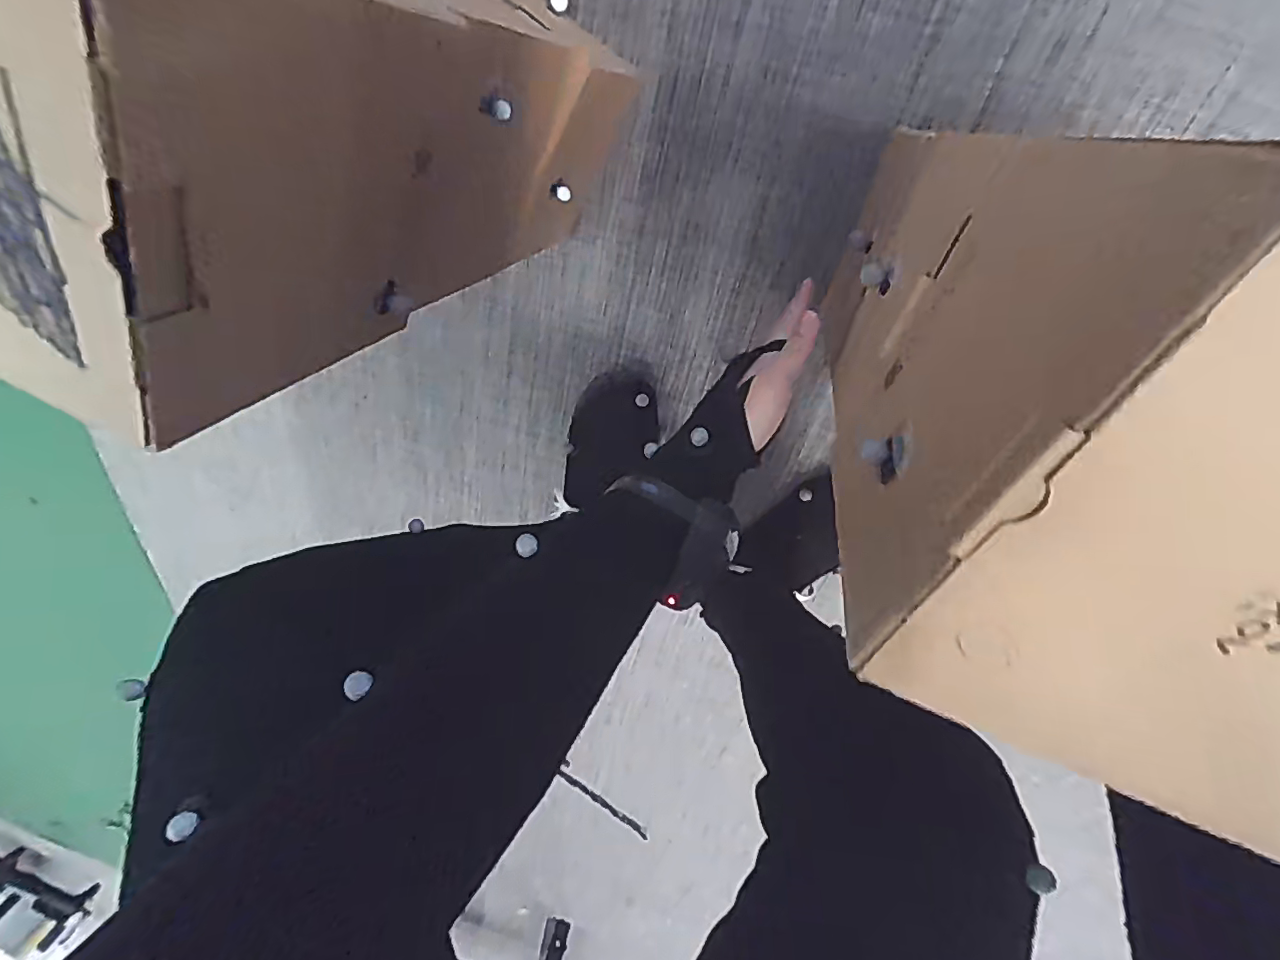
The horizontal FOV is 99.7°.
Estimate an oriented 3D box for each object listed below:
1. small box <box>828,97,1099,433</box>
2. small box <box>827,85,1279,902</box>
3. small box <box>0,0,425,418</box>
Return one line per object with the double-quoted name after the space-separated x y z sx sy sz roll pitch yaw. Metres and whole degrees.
0.227 -0.096 0.314 0.179 0.176 0.168 22 127 5 "small box"
0.182 -0.004 0.185 0.179 0.176 0.168 24 127 1 "small box"
-0.214 -0.161 0.205 0.179 0.176 0.168 31 126 -4 "small box"
